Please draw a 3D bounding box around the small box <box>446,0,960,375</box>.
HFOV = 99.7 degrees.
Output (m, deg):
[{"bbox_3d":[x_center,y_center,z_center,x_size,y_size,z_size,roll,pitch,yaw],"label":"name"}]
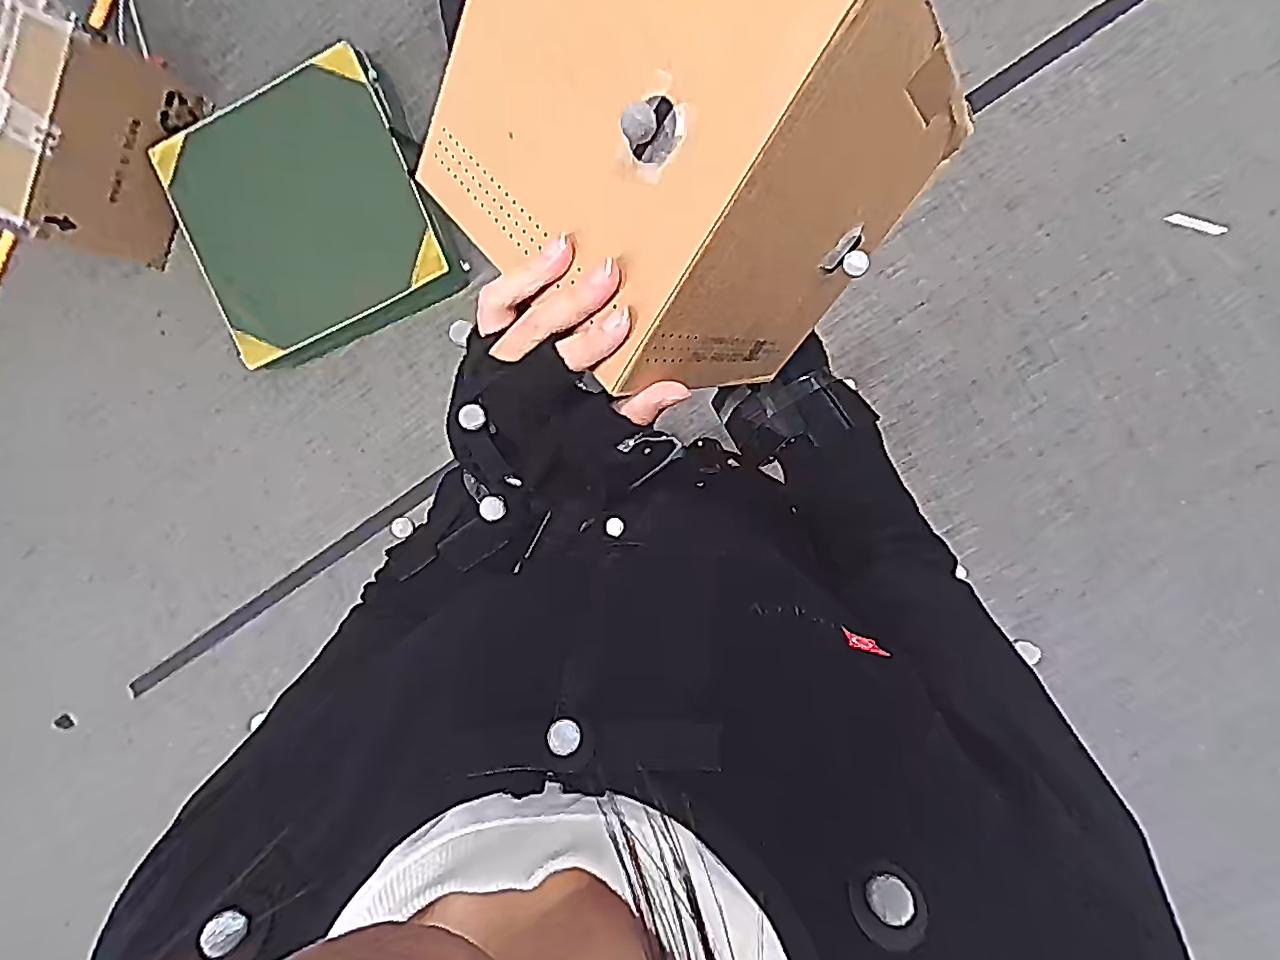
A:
[{"bbox_3d":[0.026,-0.172,0.294,0.179,0.168,0.176,50,125,19],"label":"small box"}]
